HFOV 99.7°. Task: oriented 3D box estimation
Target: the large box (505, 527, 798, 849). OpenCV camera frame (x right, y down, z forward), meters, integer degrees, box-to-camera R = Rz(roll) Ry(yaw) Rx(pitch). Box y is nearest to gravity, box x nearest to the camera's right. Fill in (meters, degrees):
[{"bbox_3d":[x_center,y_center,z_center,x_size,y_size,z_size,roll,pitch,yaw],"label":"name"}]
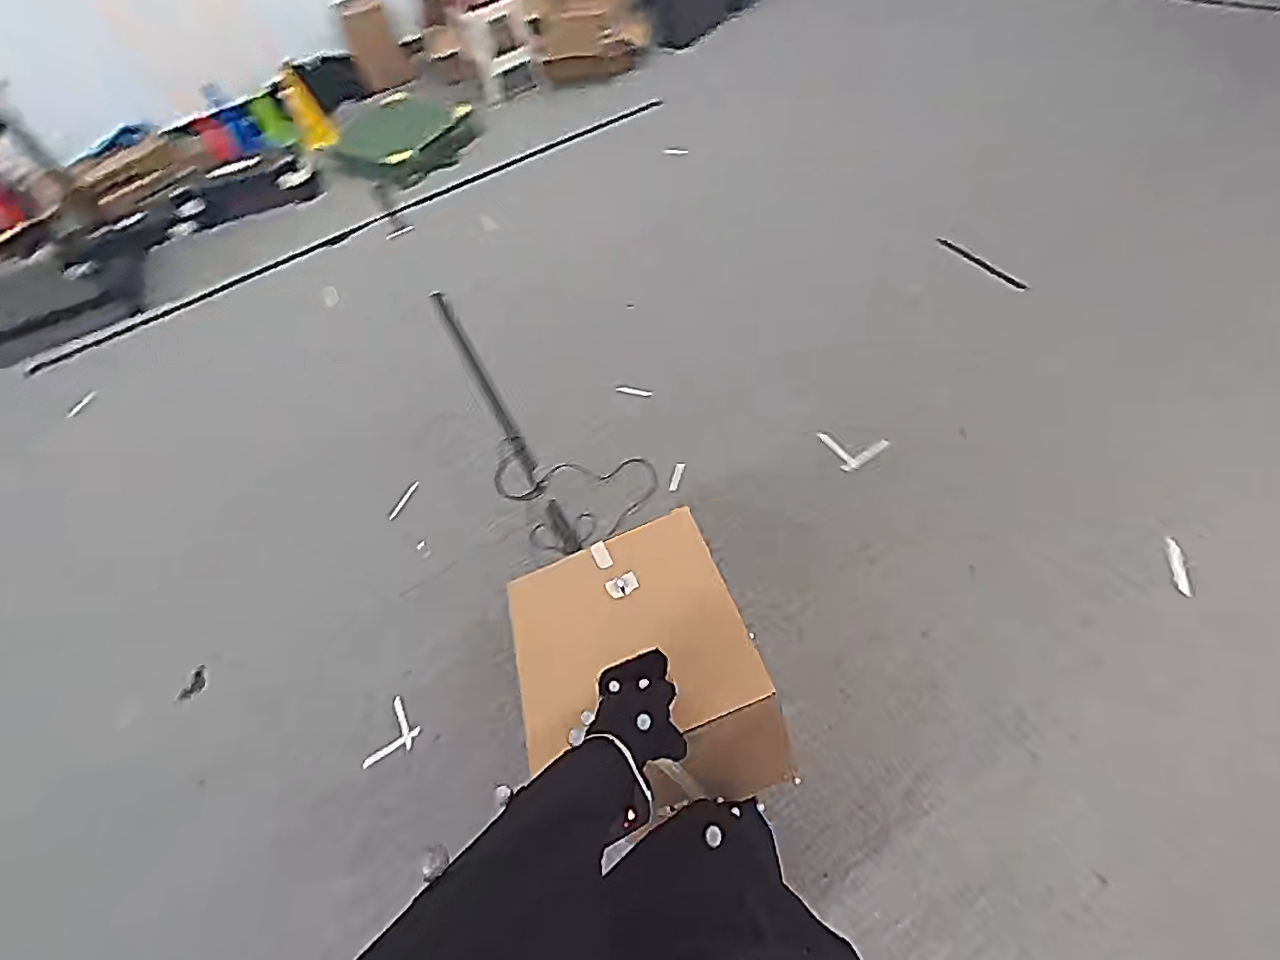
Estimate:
[{"bbox_3d":[0.027,0.348,0.880,0.320,0.408,0.320,-24,48,1],"label":"large box"}]
